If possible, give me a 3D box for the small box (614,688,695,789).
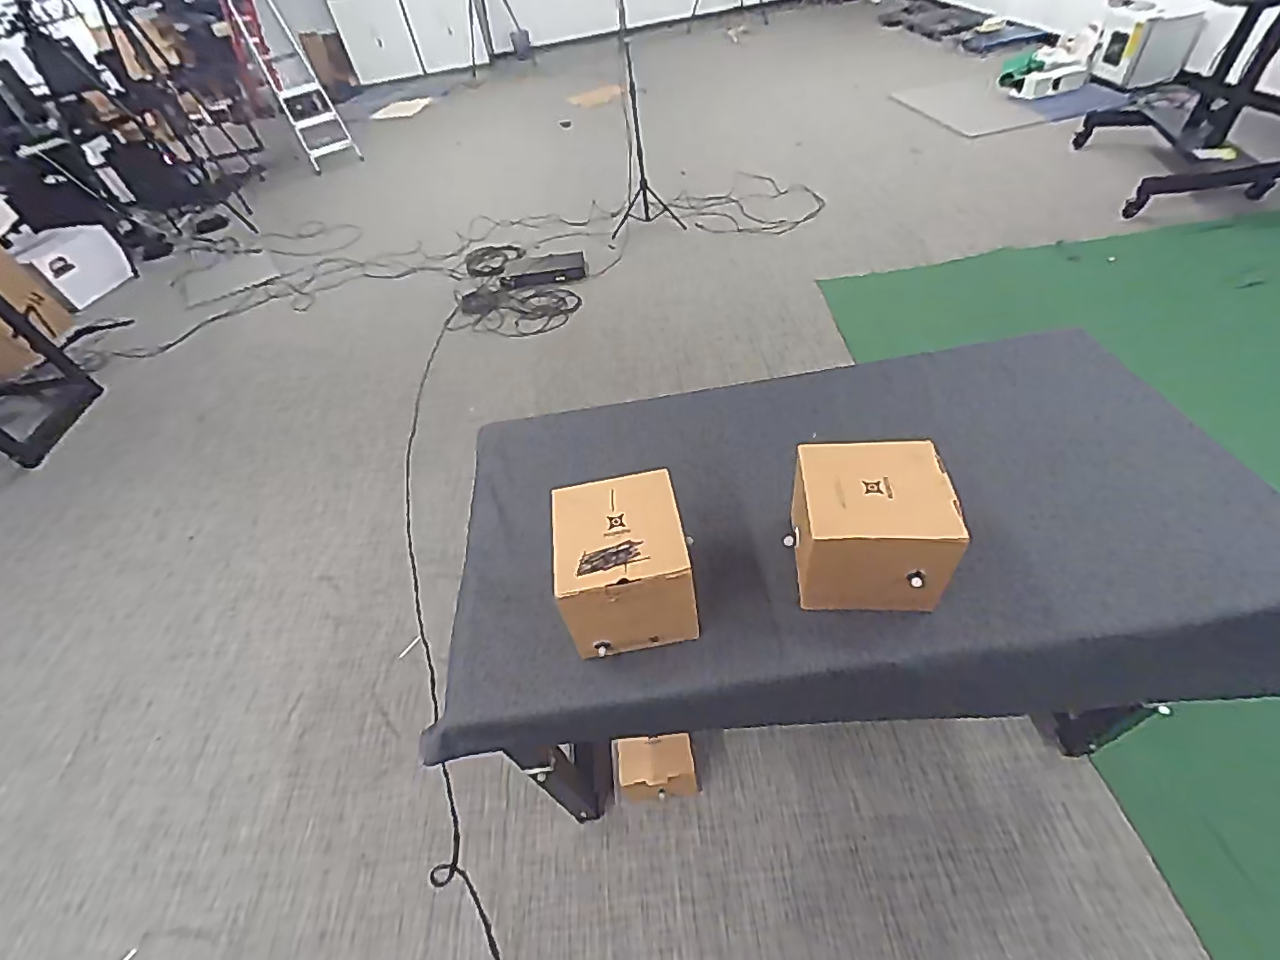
[{"bbox_3d":[0.036,0.618,1.283,0.168,0.176,0.179,-9,48,2],"label":"small box"}]

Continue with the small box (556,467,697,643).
[{"bbox_3d":[-0.018,0.111,0.755,0.168,0.176,0.179,-10,46,0],"label":"small box"}]

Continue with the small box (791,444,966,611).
[{"bbox_3d":[0.309,0.067,0.745,0.179,0.176,0.168,-1,47,10],"label":"small box"}]
